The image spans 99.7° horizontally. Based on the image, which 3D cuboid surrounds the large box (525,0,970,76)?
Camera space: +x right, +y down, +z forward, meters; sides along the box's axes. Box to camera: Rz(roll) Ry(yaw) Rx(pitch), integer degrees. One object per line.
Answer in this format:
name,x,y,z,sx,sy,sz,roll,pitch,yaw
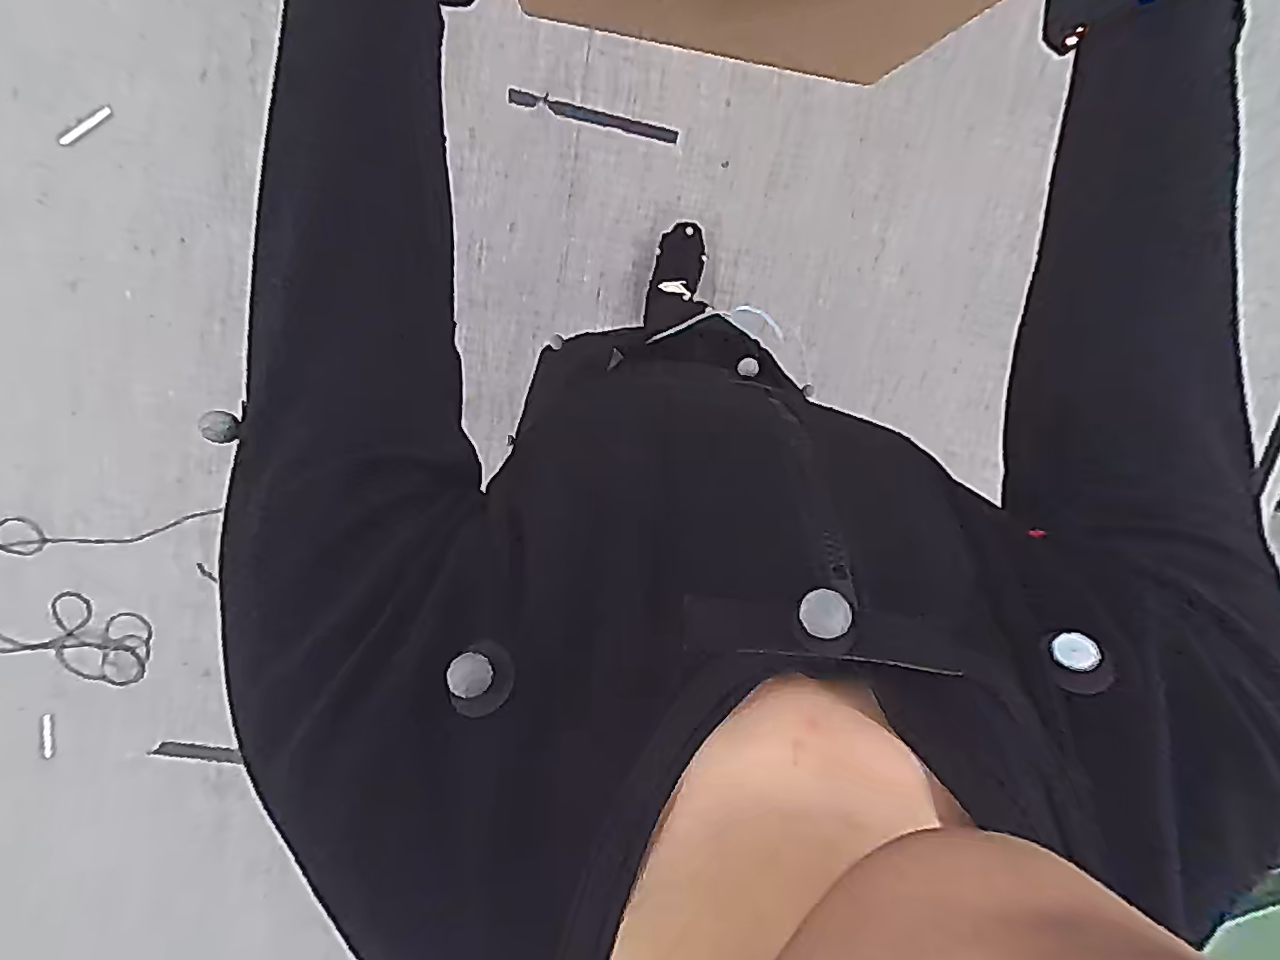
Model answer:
large box,0.097,-0.574,0.424,0.408,0.320,0.320,7,113,-6
